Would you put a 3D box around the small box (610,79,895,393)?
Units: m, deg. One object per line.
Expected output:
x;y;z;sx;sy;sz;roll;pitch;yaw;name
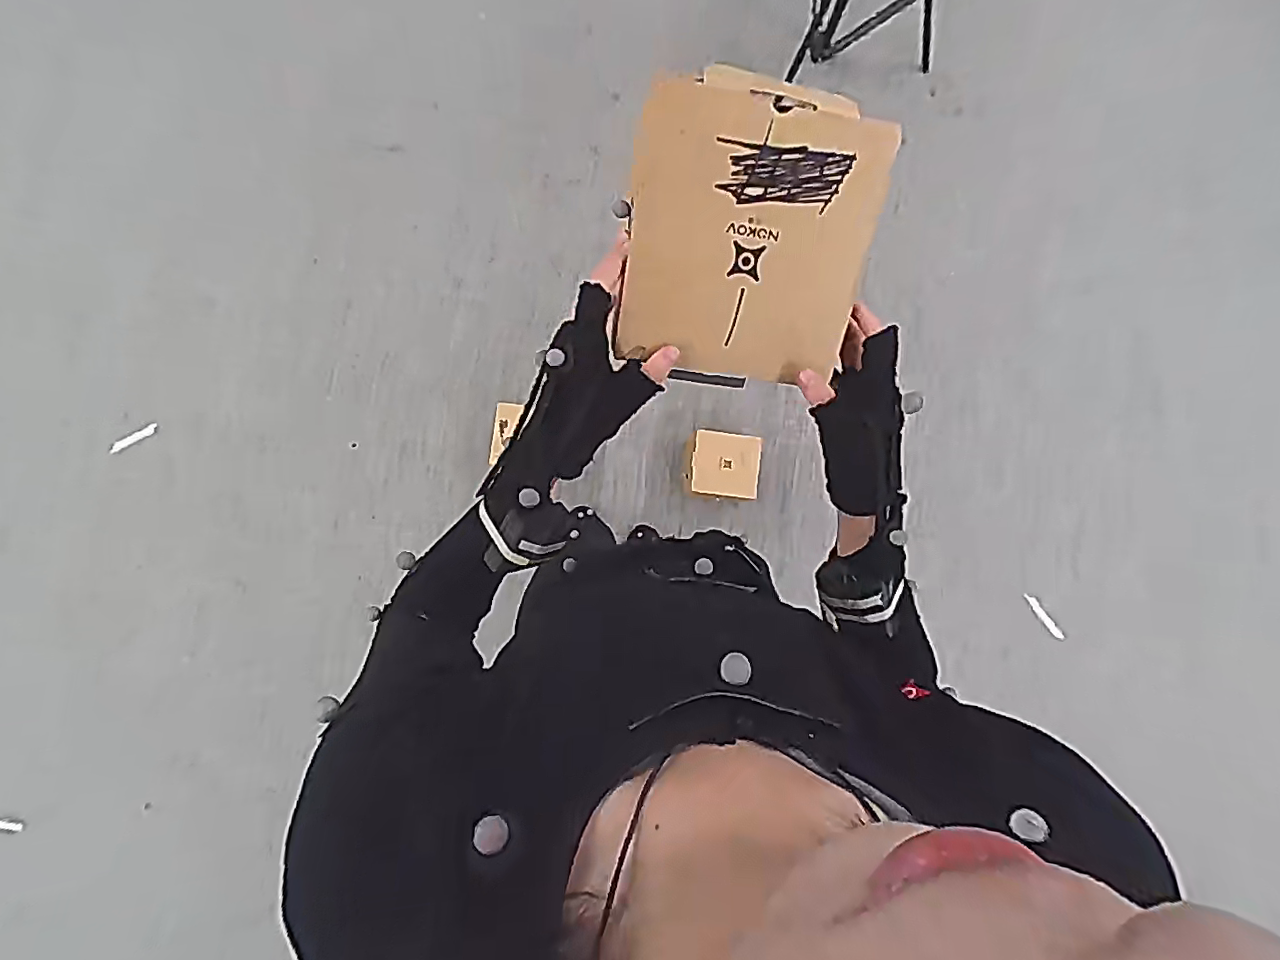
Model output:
0.067;-0.183;0.442;0.168;0.176;0.179;7;111;-7;small box

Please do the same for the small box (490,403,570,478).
-0.289;-0.100;1.463;0.179;0.176;0.168;7;84;-2;small box

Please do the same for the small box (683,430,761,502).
0.218;-0.032;1.482;0.179;0.176;0.168;7;85;-3;small box
